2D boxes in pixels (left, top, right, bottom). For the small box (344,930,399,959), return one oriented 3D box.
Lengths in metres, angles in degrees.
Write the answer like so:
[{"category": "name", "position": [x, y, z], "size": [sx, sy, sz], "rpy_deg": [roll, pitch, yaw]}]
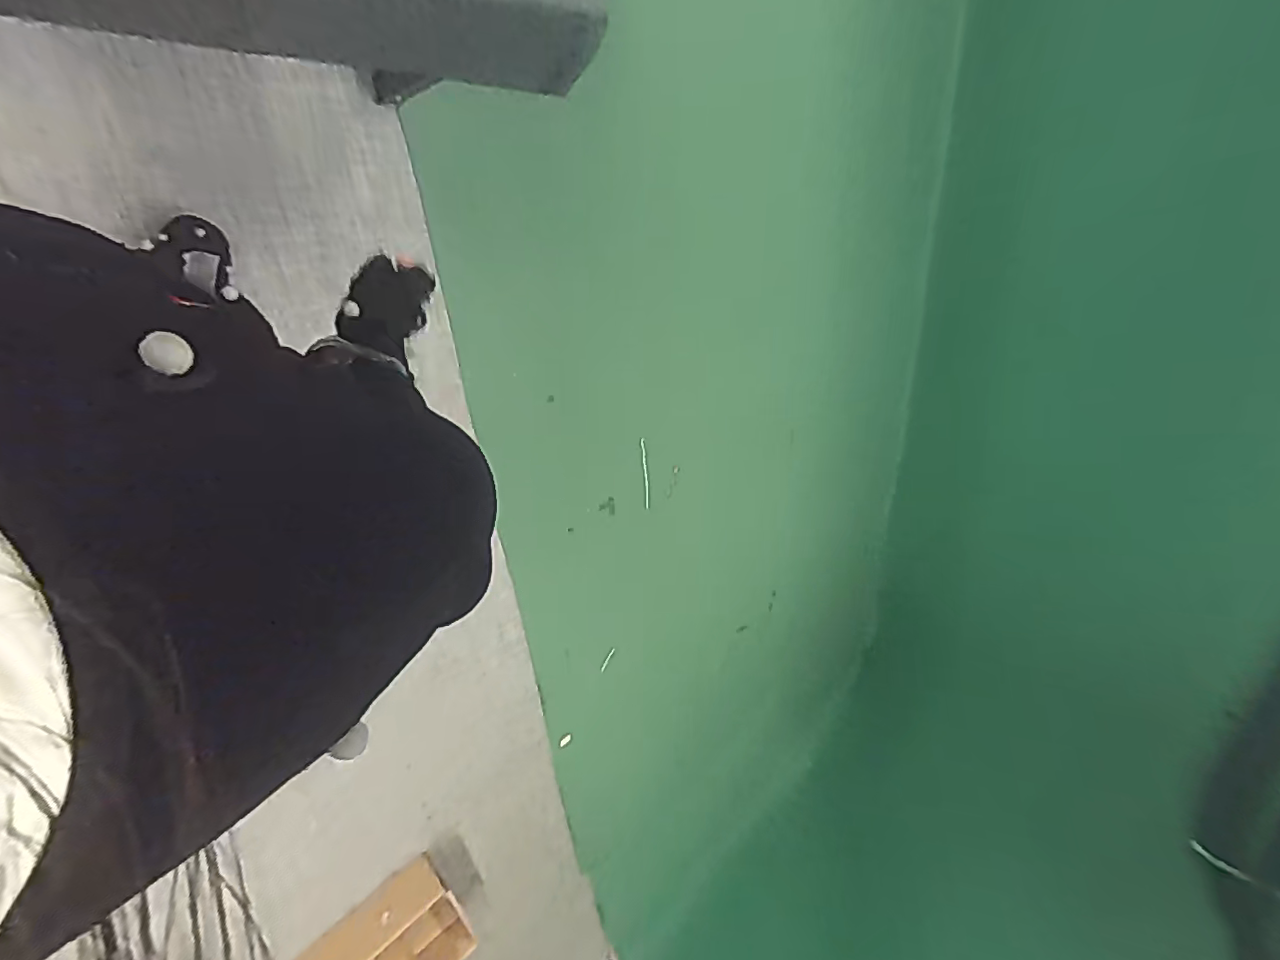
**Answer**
[{"category": "small box", "position": [-0.869, 1.617, 1.732], "size": [0.179, 0.176, 0.168], "rpy_deg": [-33, 128, -34]}]
